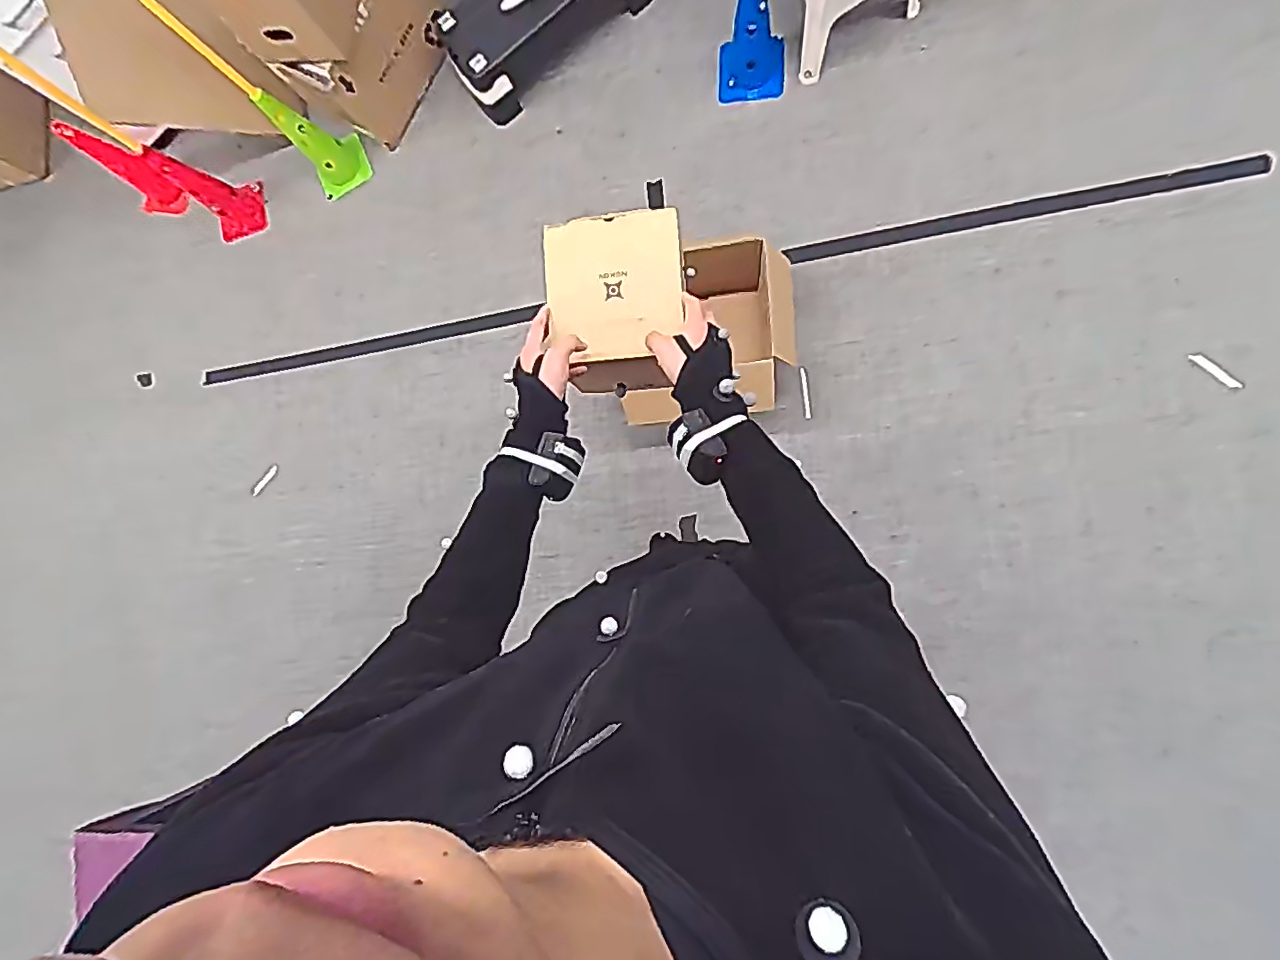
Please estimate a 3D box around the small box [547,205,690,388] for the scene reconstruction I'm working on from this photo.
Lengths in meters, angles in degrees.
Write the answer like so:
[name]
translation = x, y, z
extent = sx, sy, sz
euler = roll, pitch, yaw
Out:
[small box]
translation = -0.021, -0.233, 0.724
extent = 0.168, 0.176, 0.179
euler = -3, 86, 8
